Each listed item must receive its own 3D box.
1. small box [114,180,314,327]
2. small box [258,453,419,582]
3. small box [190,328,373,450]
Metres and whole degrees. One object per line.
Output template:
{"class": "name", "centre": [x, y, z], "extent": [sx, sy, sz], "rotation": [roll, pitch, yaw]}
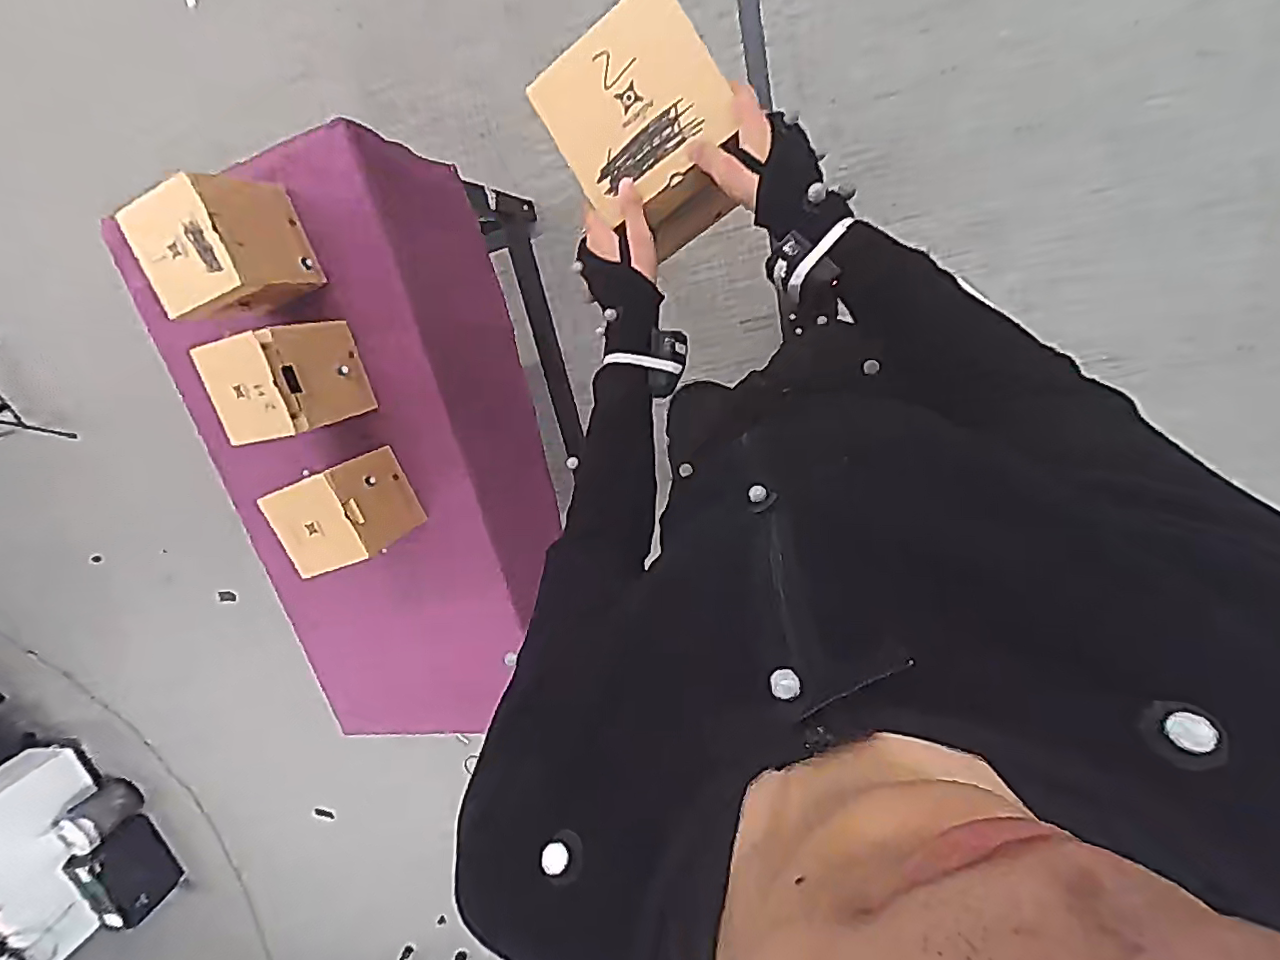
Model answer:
{"class": "small box", "centre": [-0.678, -0.365, 0.888], "extent": [0.179, 0.176, 0.168], "rotation": [-13, 106, 20]}
{"class": "small box", "centre": [-0.549, 0.065, 1.016], "extent": [0.179, 0.176, 0.168], "rotation": [-18, 104, 20]}
{"class": "small box", "centre": [-0.613, -0.163, 0.946], "extent": [0.179, 0.176, 0.168], "rotation": [-8, 108, 17]}
